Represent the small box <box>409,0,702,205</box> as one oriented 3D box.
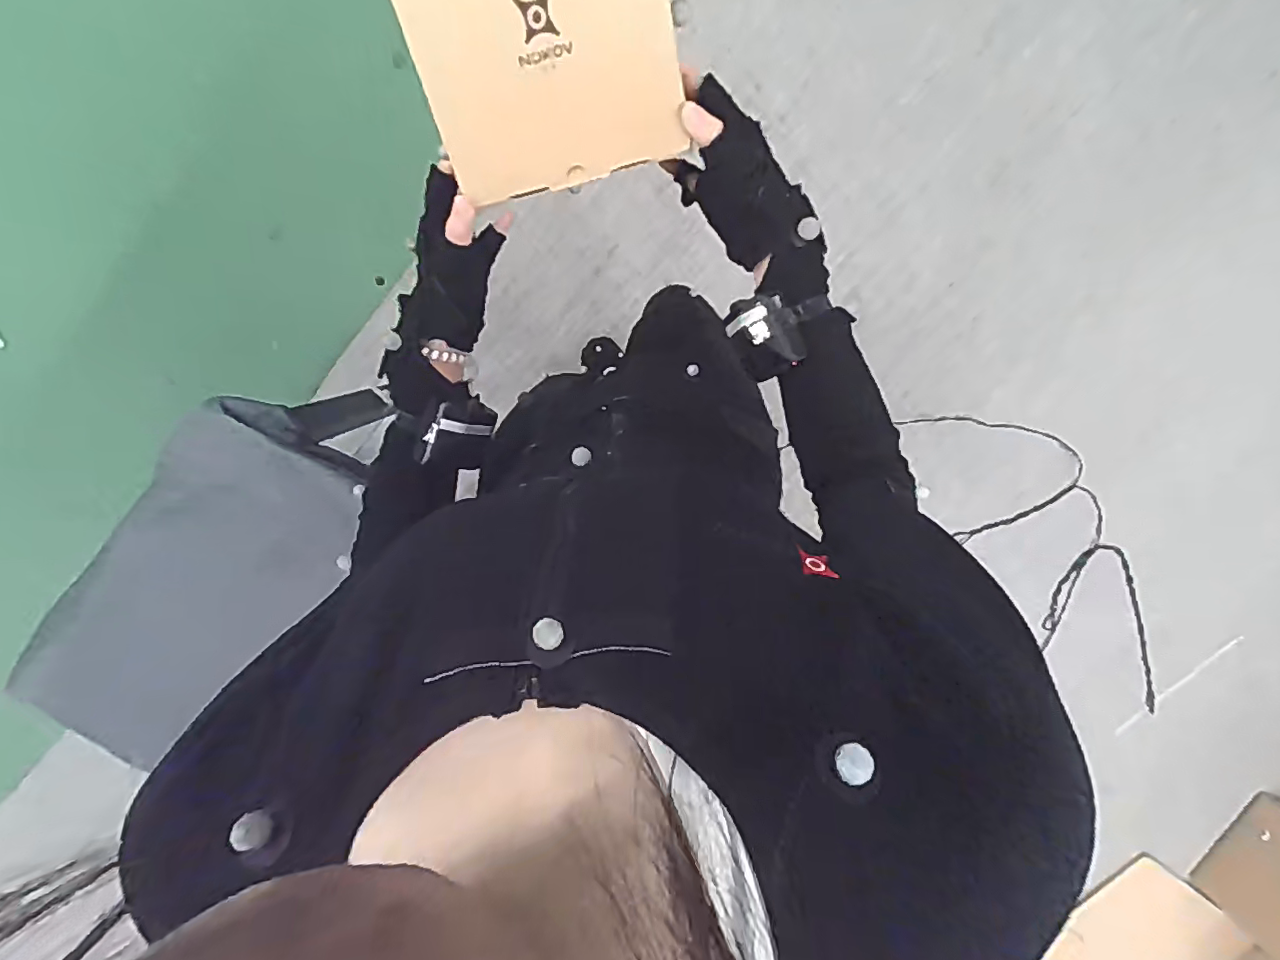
[{"bbox_3d":[-0.059,-0.326,0.400,0.168,0.176,0.179,-13,125,4],"label":"small box"}]
